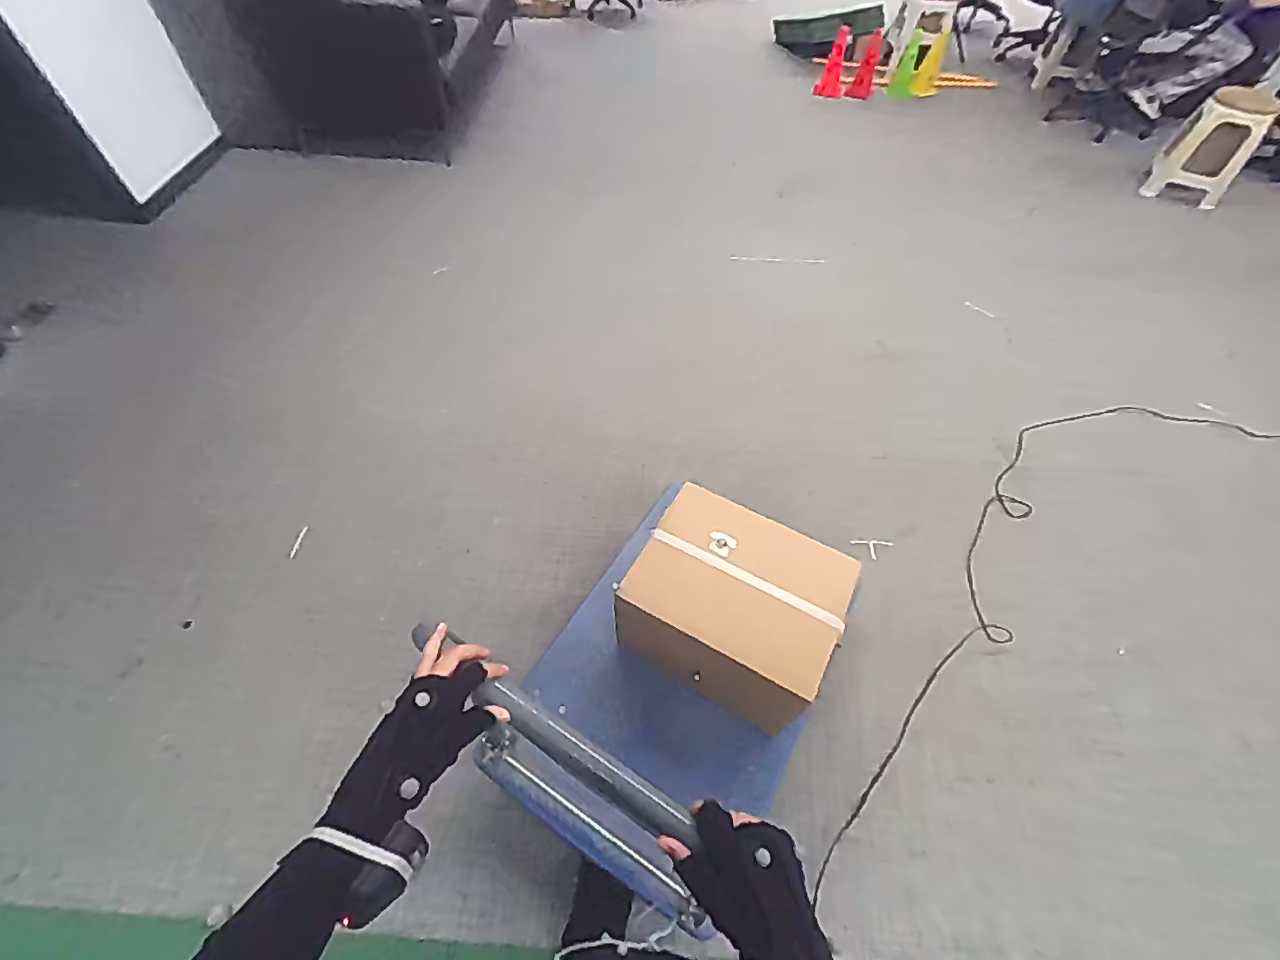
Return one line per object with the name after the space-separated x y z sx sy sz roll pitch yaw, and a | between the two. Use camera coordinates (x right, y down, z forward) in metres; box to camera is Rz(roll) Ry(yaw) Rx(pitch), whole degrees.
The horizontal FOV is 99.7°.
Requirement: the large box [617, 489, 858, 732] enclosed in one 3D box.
0.201 0.290 1.194 0.408 0.320 0.320 24 56 17 | large box
